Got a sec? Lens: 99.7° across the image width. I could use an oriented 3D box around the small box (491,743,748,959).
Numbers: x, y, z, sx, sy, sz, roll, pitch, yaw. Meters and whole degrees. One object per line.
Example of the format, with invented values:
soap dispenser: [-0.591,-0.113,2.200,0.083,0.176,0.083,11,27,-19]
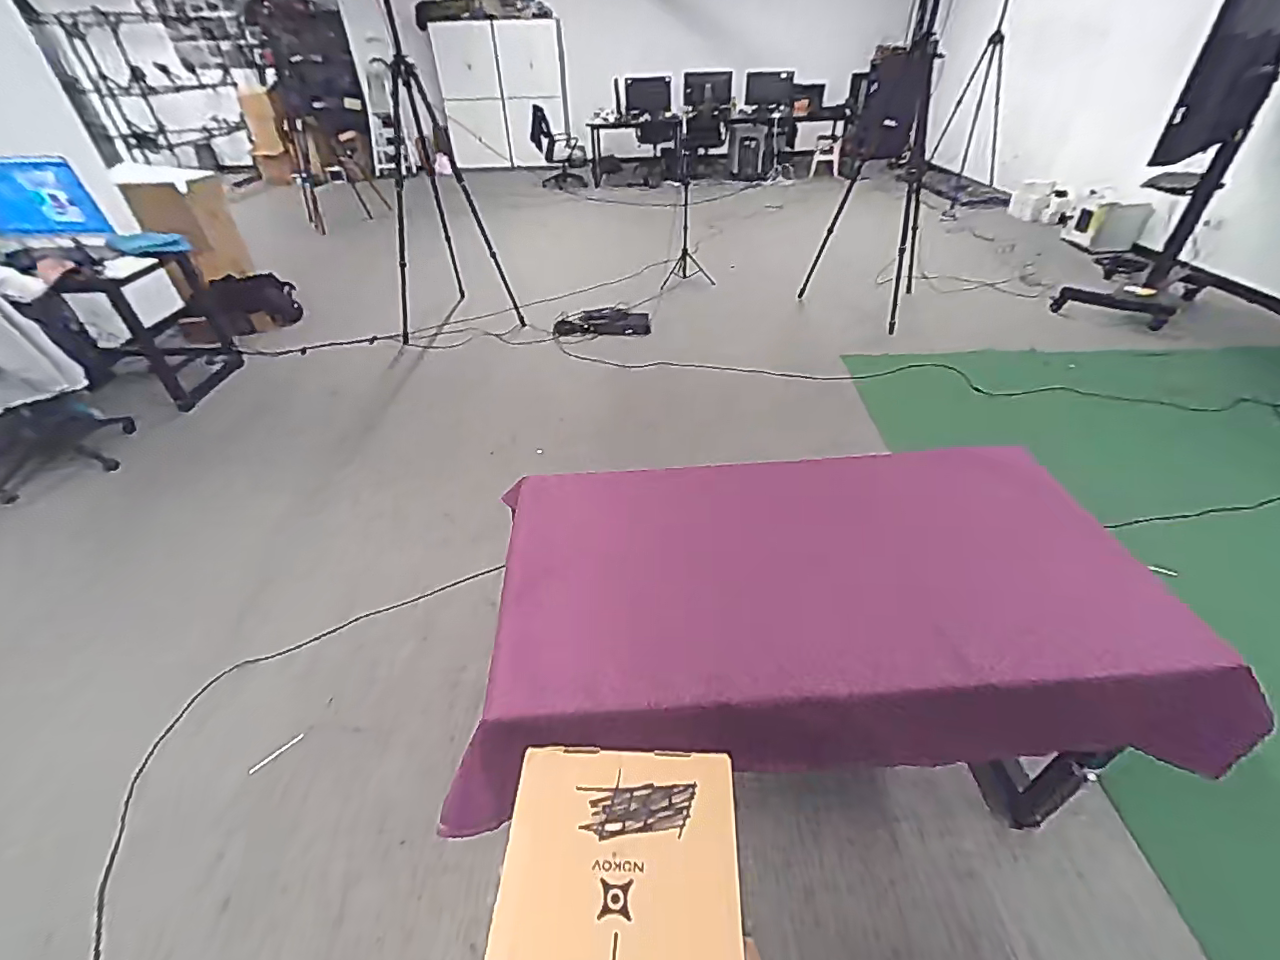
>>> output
small box: [-0.008,0.332,0.426,0.168,0.176,0.179,0,43,4]
